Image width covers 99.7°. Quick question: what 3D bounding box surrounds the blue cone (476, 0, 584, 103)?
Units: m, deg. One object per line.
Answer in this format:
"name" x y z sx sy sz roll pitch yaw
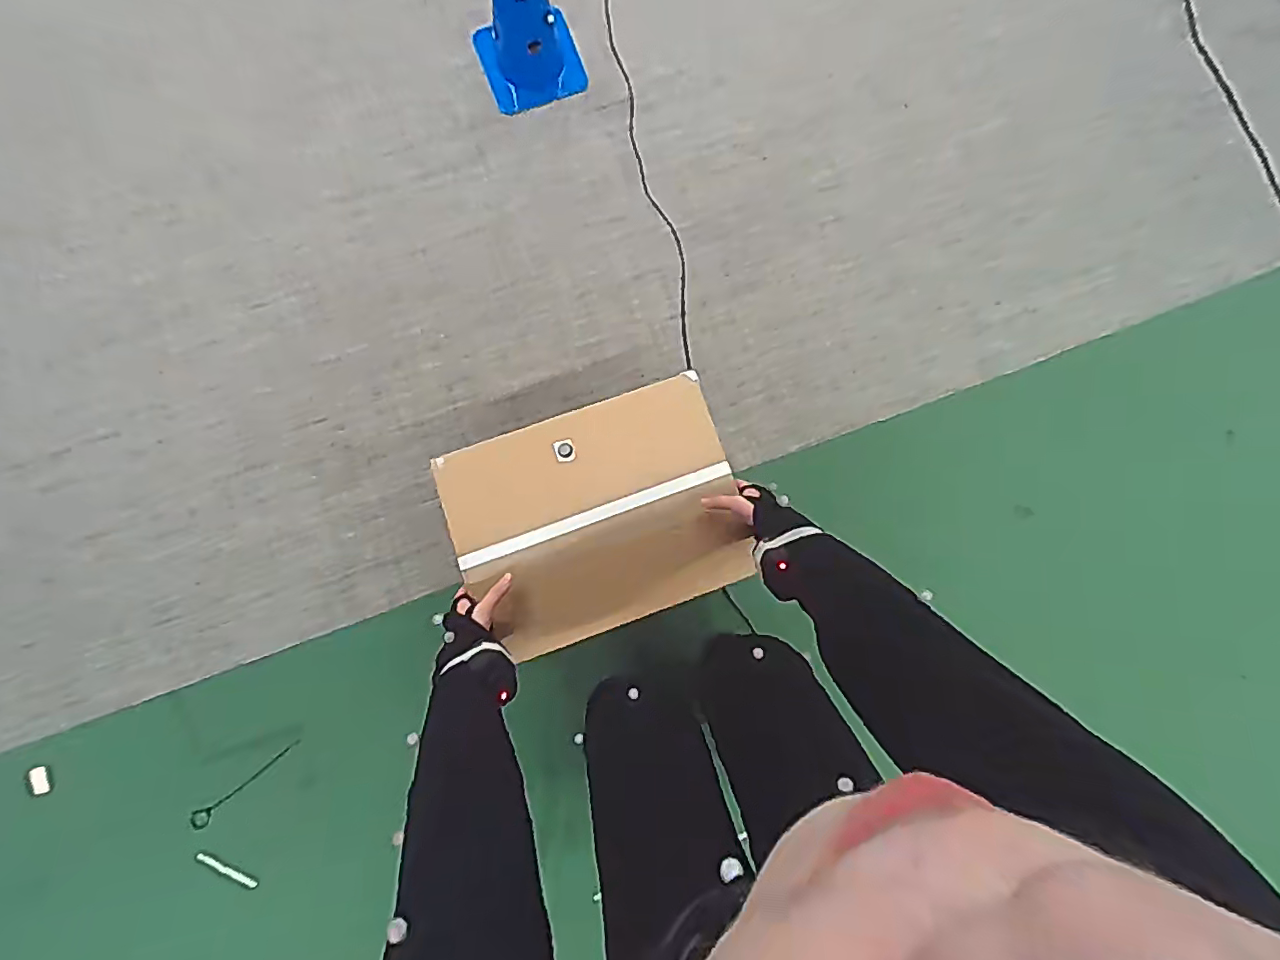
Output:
"blue cone" -0.221 -0.896 0.956 0.193 0.380 0.192 -23 86 -3
